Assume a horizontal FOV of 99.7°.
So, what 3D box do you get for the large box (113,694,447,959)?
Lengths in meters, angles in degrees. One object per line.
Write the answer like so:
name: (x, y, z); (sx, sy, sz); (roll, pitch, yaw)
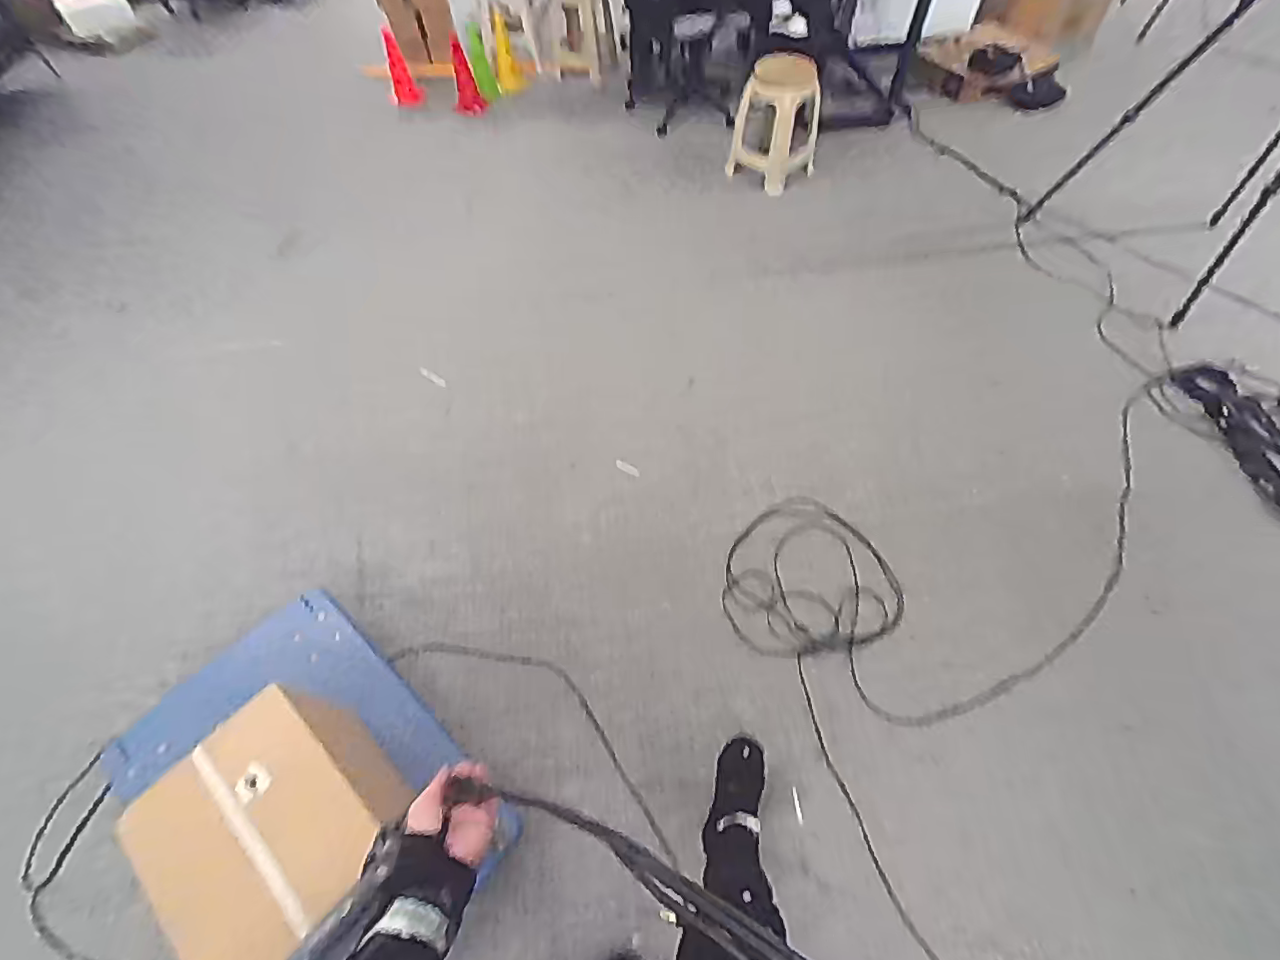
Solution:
large box: (-0.657, 0.695, 1.039); (0.408, 0.320, 0.320); (36, 64, 23)
